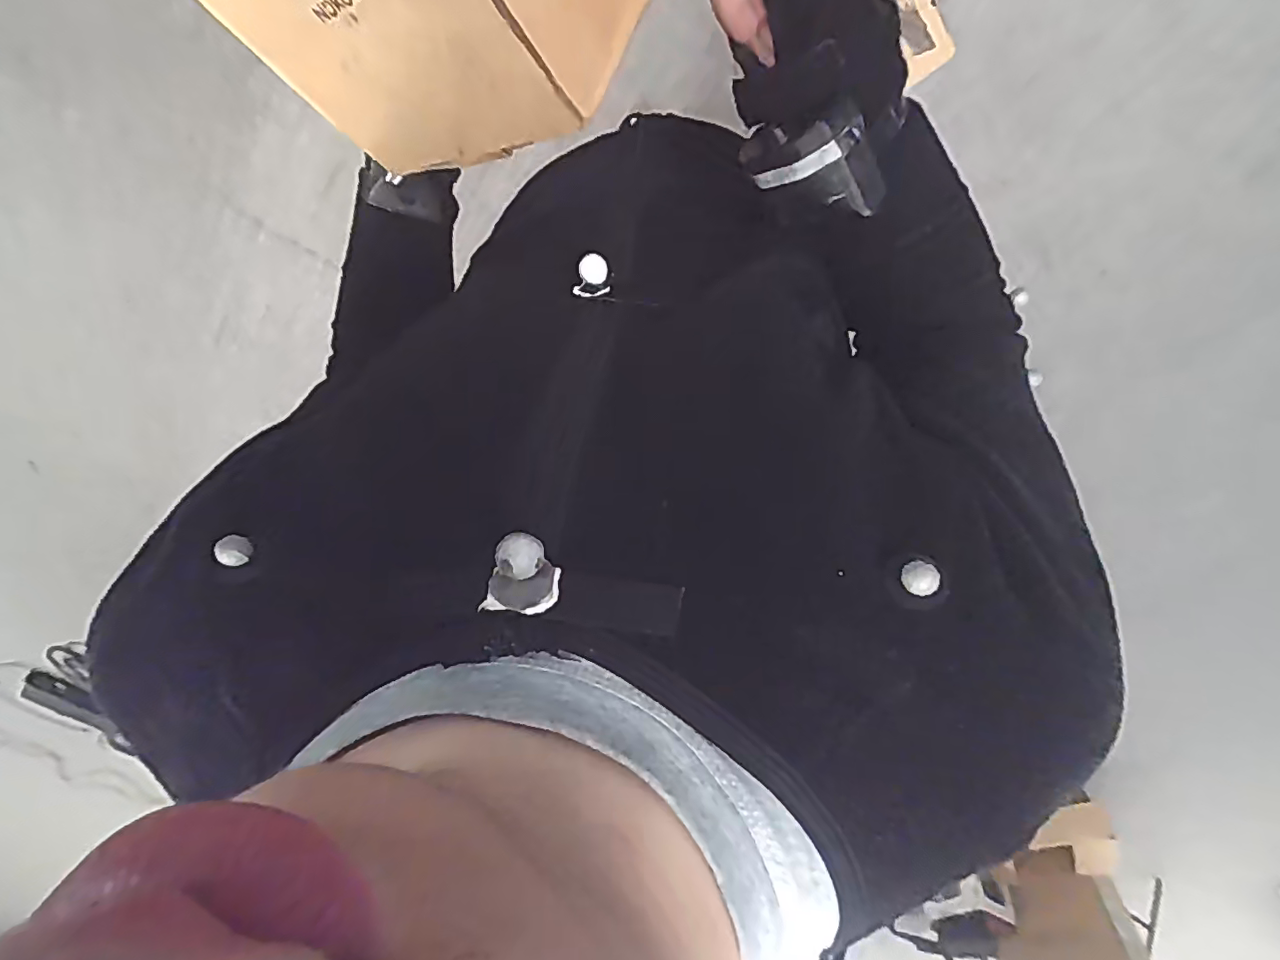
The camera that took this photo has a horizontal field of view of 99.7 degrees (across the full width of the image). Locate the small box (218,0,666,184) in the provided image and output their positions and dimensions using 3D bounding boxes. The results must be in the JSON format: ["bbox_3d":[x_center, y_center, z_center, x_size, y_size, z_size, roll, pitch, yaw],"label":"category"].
[{"bbox_3d":[-0.088,-0.272,0.238,0.168,0.176,0.179,15,168,36],"label":"small box"}]

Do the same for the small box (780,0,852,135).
[{"bbox_3d":[0.403,-0.833,1.084,0.179,0.176,0.168,-31,116,25],"label":"small box"}]

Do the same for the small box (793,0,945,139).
[{"bbox_3d":[0.391,-0.739,0.950,0.179,0.176,0.168,-30,116,24],"label":"small box"}]
